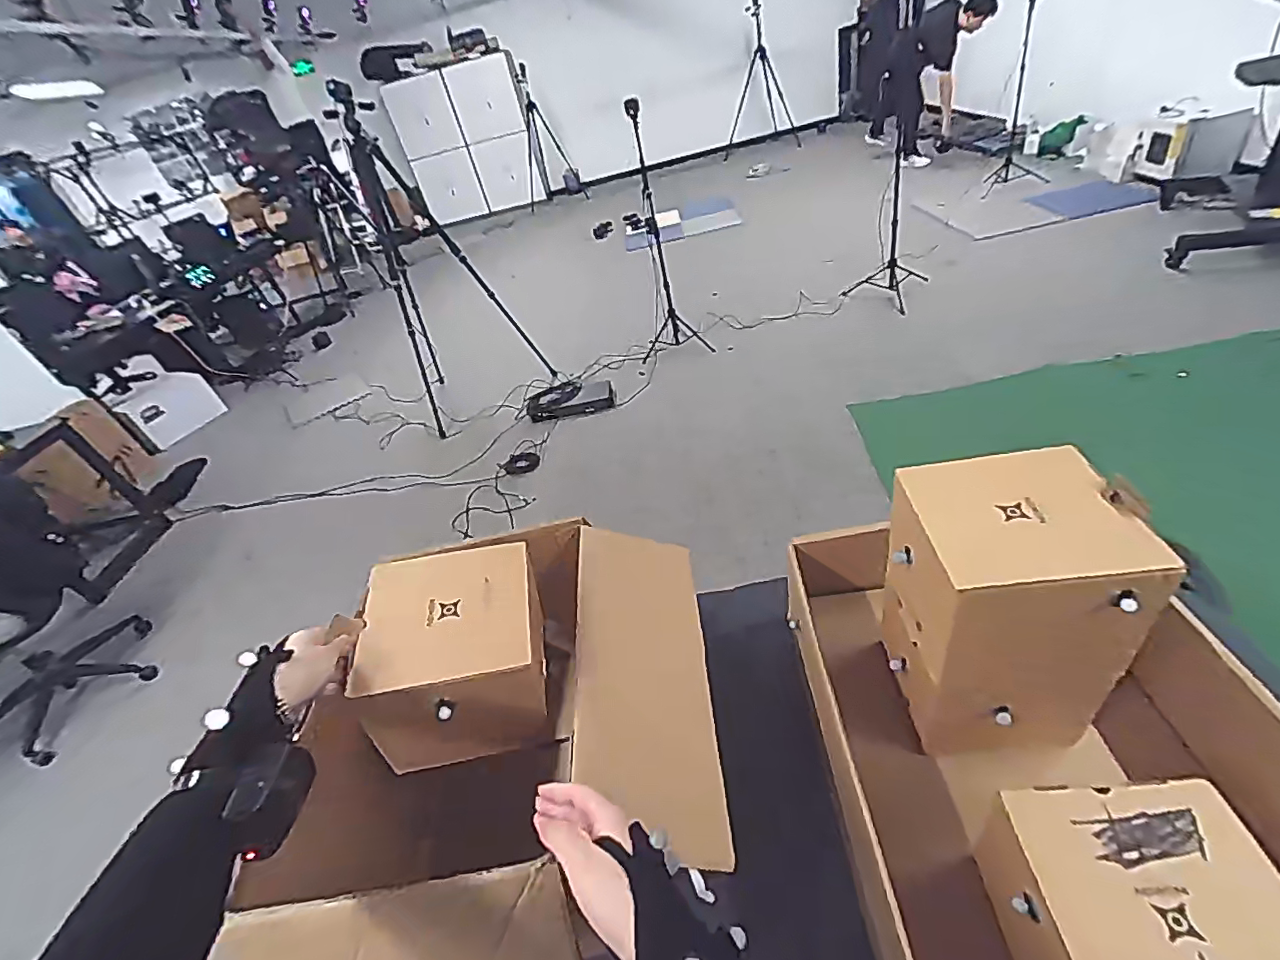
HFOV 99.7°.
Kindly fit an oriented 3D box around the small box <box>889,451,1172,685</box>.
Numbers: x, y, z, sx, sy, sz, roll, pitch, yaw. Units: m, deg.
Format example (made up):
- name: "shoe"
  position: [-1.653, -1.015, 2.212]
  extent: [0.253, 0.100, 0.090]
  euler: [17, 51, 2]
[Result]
- name: "small box"
  position: [0.370, 0.095, 0.560]
  extent: [0.179, 0.176, 0.168]
  euler: [-8, 40, 10]
